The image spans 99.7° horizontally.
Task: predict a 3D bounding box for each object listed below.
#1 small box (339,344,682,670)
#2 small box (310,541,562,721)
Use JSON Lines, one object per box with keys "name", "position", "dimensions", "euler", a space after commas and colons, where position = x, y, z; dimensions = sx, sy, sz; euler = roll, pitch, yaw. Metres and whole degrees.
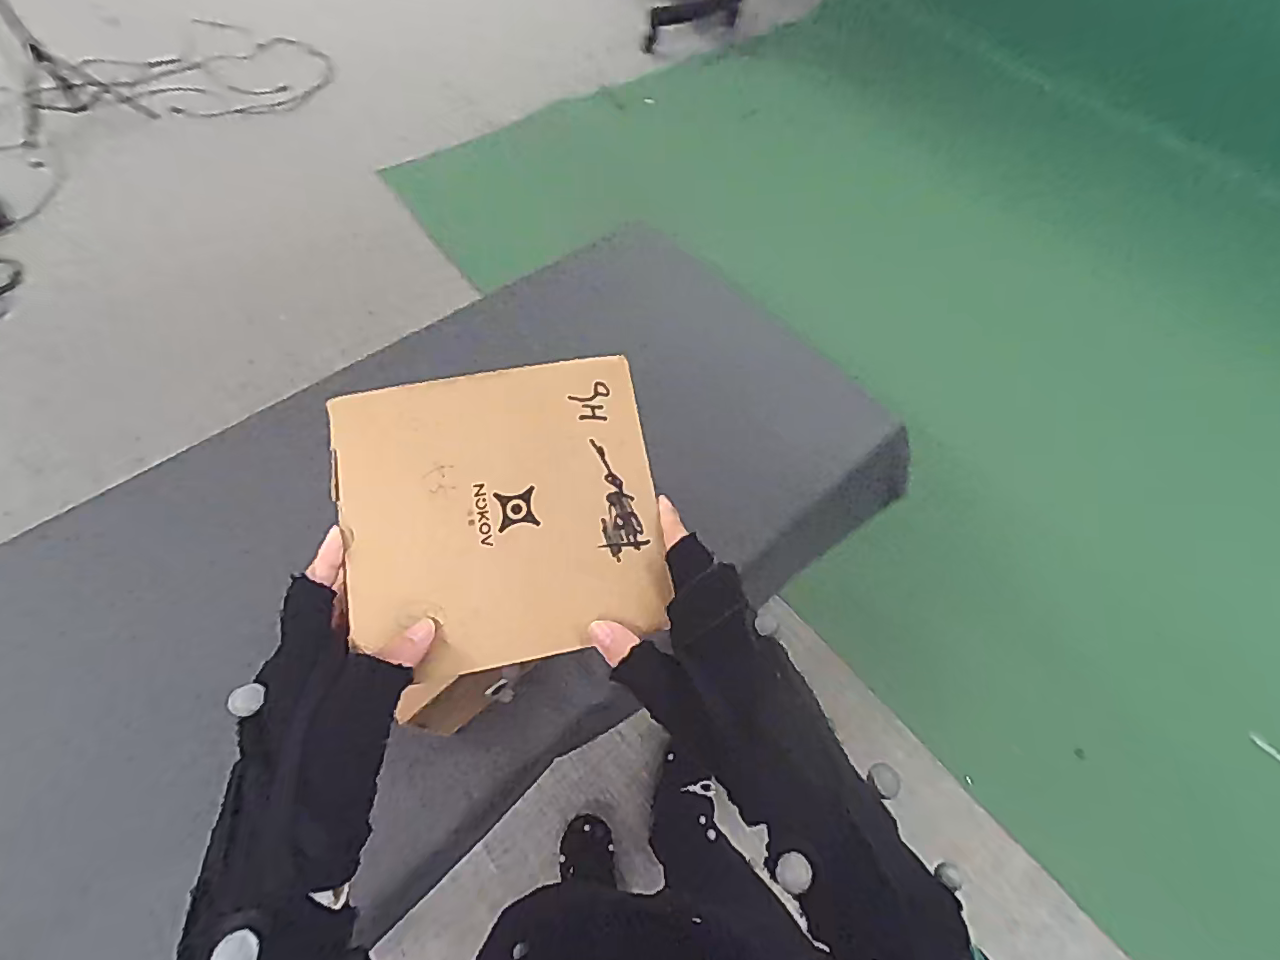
{"name": "small box", "position": [-0.082, 0.029, 0.386], "dimensions": [0.179, 0.176, 0.168], "euler": [-12, 77, -8]}
{"name": "small box", "position": [-0.198, 0.132, 0.576], "dimensions": [0.168, 0.176, 0.179], "euler": [-39, 71, -21]}
